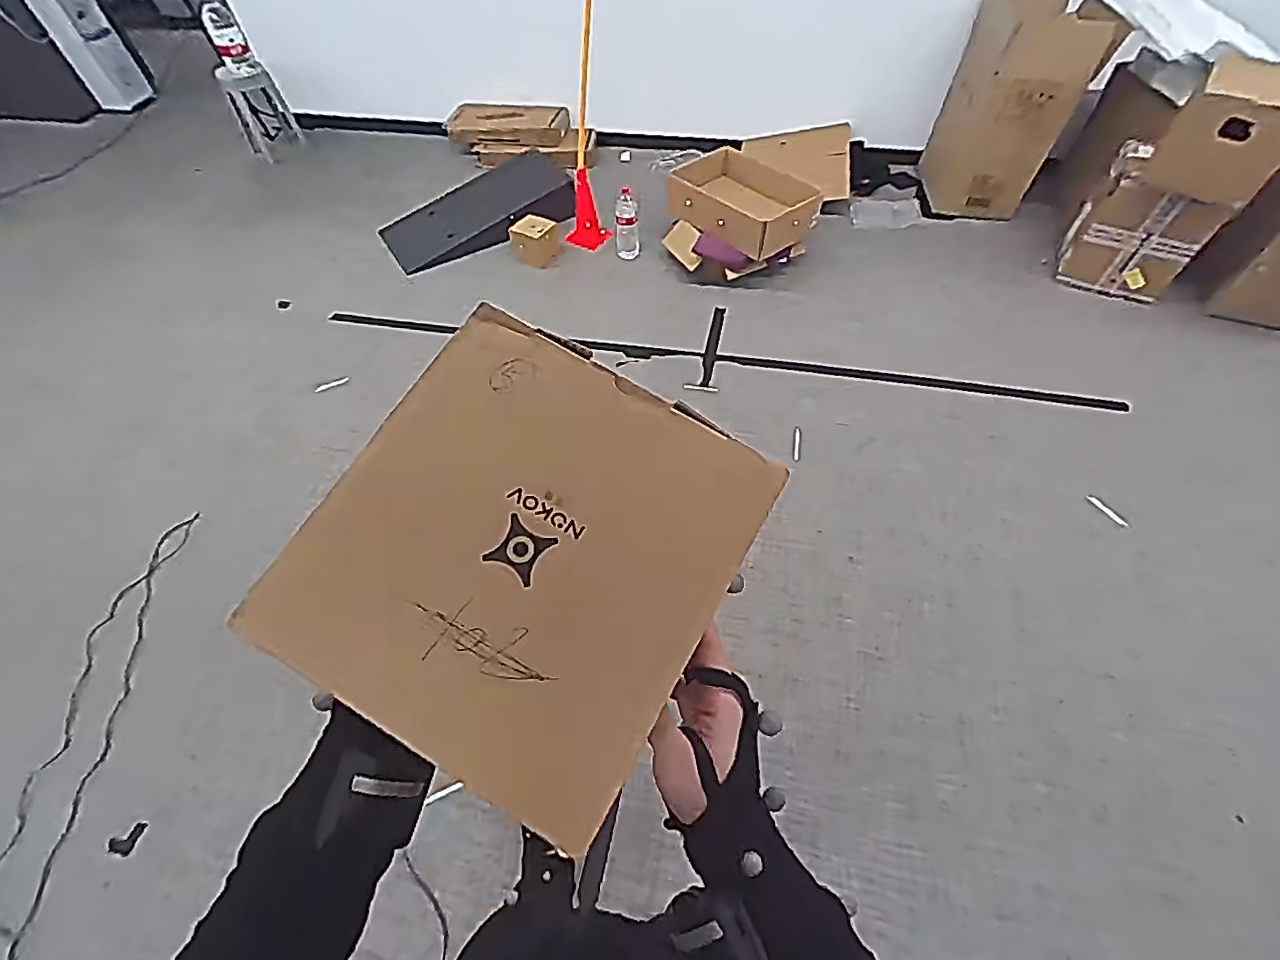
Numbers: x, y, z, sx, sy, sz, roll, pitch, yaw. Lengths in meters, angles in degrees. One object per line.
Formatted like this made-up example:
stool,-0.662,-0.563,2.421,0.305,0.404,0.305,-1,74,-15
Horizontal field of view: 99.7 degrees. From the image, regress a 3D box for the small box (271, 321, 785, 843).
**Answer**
small box,-0.046,0.052,0.314,0.168,0.176,0.179,29,75,7
